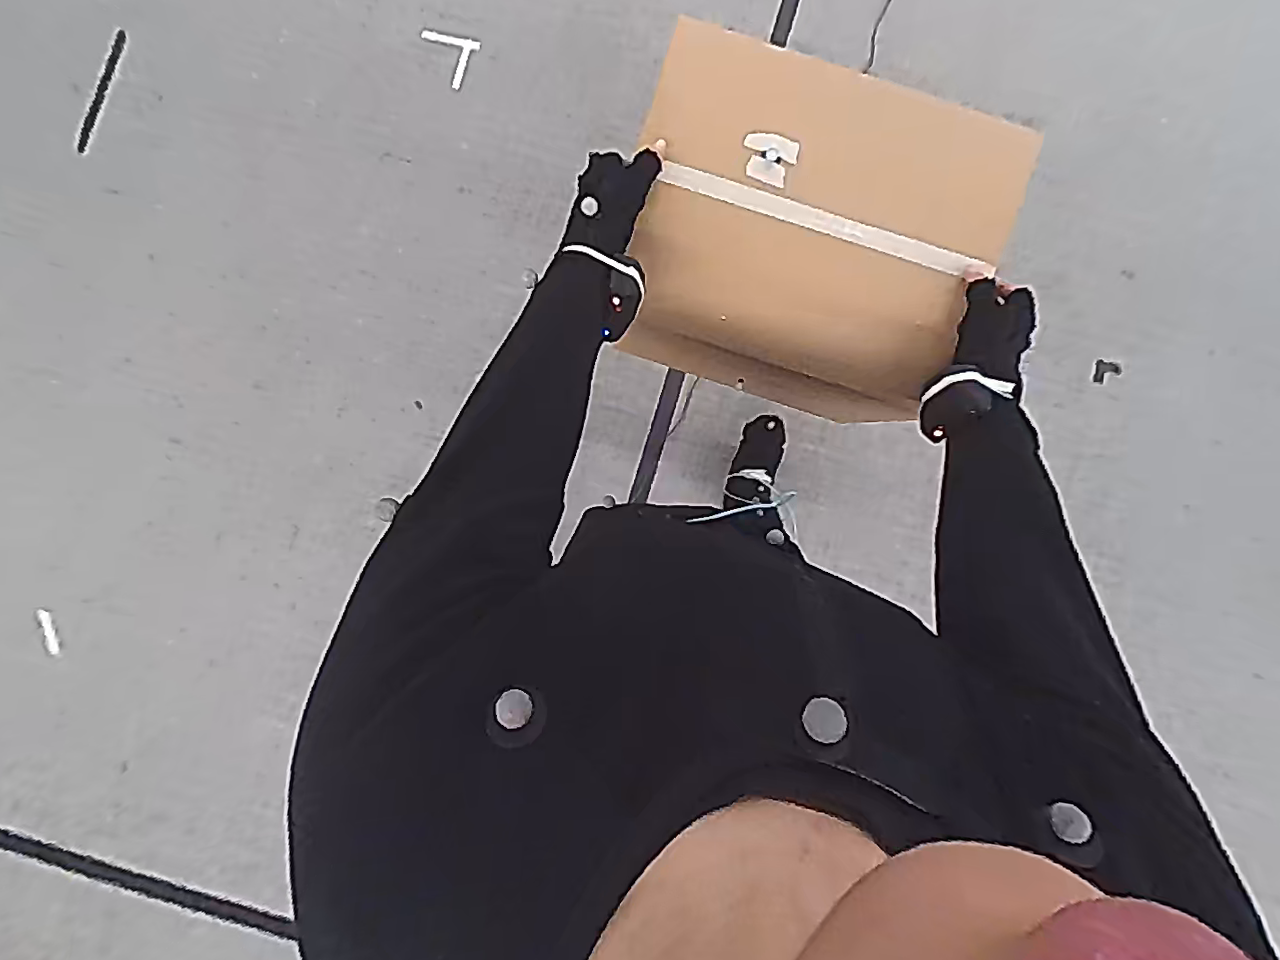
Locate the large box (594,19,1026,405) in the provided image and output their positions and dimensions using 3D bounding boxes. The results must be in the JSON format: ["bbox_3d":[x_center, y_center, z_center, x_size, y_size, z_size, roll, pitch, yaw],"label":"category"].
[{"bbox_3d":[0.187,-0.306,0.738,0.408,0.320,0.320,18,95,0],"label":"large box"}]
